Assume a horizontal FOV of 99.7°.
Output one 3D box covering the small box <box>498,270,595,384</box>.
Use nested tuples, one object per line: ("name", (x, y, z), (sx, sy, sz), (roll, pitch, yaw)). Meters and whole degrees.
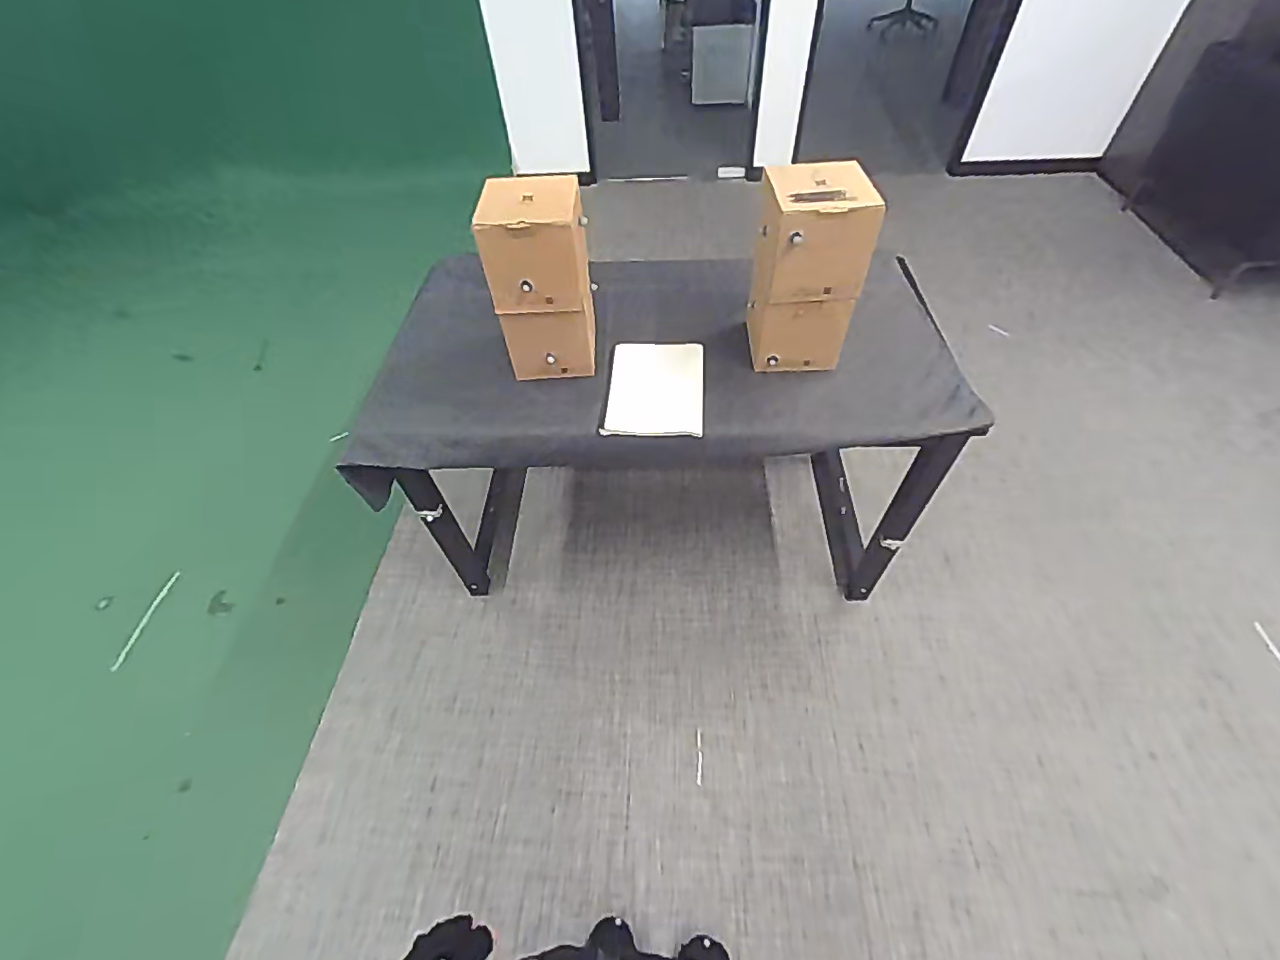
("small box", (-0.186, -0.320, 1.120), (0.168, 0.176, 0.179), (-4, 51, 0))

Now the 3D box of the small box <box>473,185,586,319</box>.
("small box", (-0.190, -0.415, 0.989), (0.168, 0.176, 0.179), (-2, 51, 0))

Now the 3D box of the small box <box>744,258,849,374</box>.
("small box", (0.310, -0.332, 1.108), (0.168, 0.176, 0.179), (-1, 50, 2))
